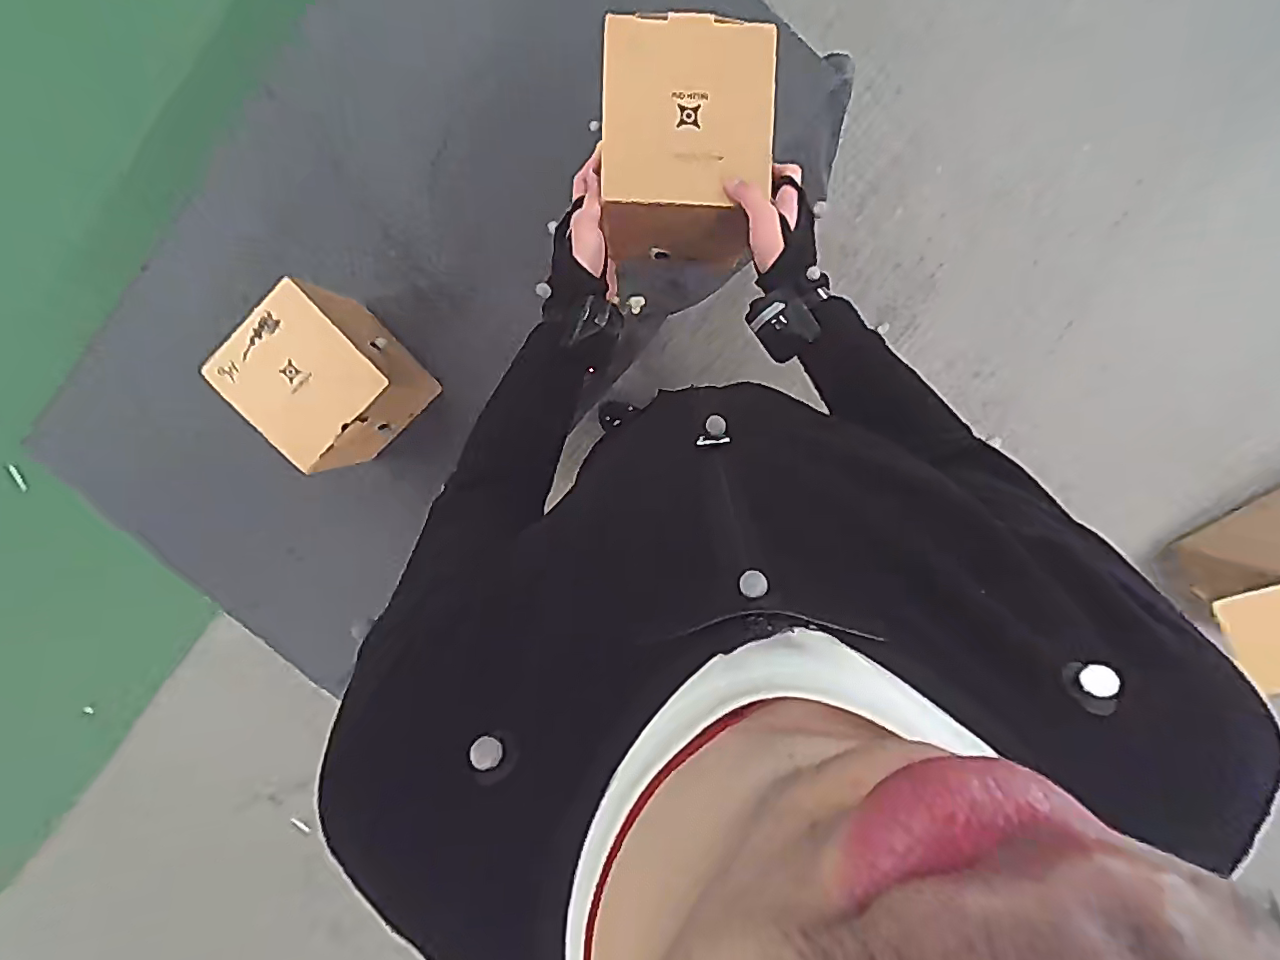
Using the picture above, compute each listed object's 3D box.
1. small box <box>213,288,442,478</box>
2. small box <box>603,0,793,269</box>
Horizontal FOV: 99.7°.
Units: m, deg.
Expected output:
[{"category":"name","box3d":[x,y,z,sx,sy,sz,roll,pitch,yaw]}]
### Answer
[{"category":"small box","box3d":[-0.409,-0.130,0.744,0.179,0.176,0.168,44,98,-4]},{"category":"small box","box3d":[0.050,-0.349,0.576,0.168,0.176,0.179,5,91,-2]}]
